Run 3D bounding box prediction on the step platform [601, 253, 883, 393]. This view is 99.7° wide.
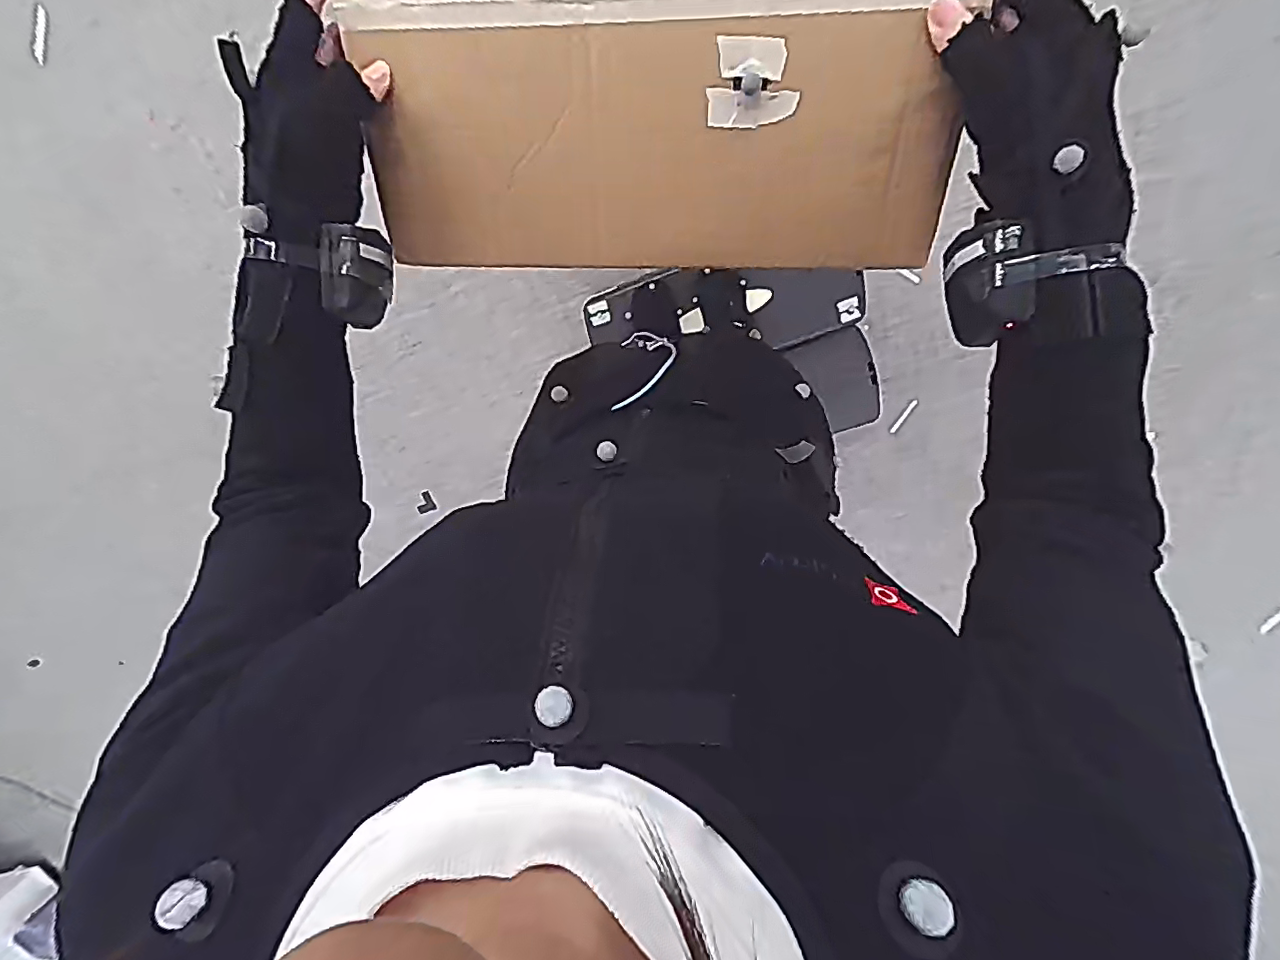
[{"bbox_3d":[0.246,-0.463,1.385,0.684,0.204,0.286,-18,109,13],"label":"step platform"}]

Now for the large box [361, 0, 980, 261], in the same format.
[{"bbox_3d":[0.023,-0.383,0.470,0.408,0.320,0.320,2,122,5],"label":"large box"}]
